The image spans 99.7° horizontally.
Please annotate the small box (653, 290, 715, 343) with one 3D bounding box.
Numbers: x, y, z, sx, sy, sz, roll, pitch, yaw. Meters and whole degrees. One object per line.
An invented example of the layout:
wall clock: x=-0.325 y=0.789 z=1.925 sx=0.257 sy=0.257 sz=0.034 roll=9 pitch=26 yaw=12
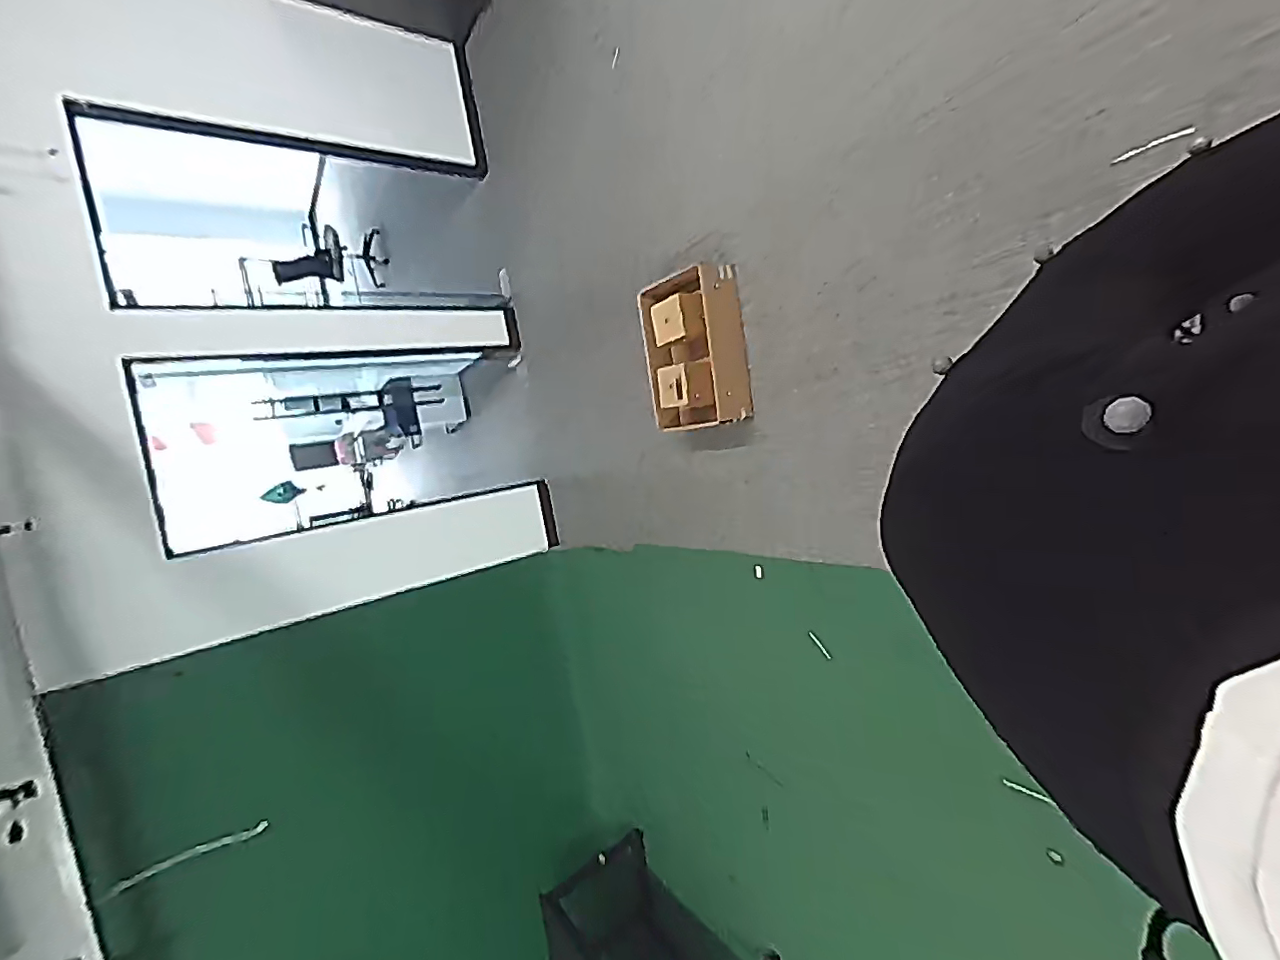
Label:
small box: x=0.181 y=-0.664 z=2.212 sx=0.179 sy=0.176 sz=0.168 roll=-7 pitch=95 yaw=53
